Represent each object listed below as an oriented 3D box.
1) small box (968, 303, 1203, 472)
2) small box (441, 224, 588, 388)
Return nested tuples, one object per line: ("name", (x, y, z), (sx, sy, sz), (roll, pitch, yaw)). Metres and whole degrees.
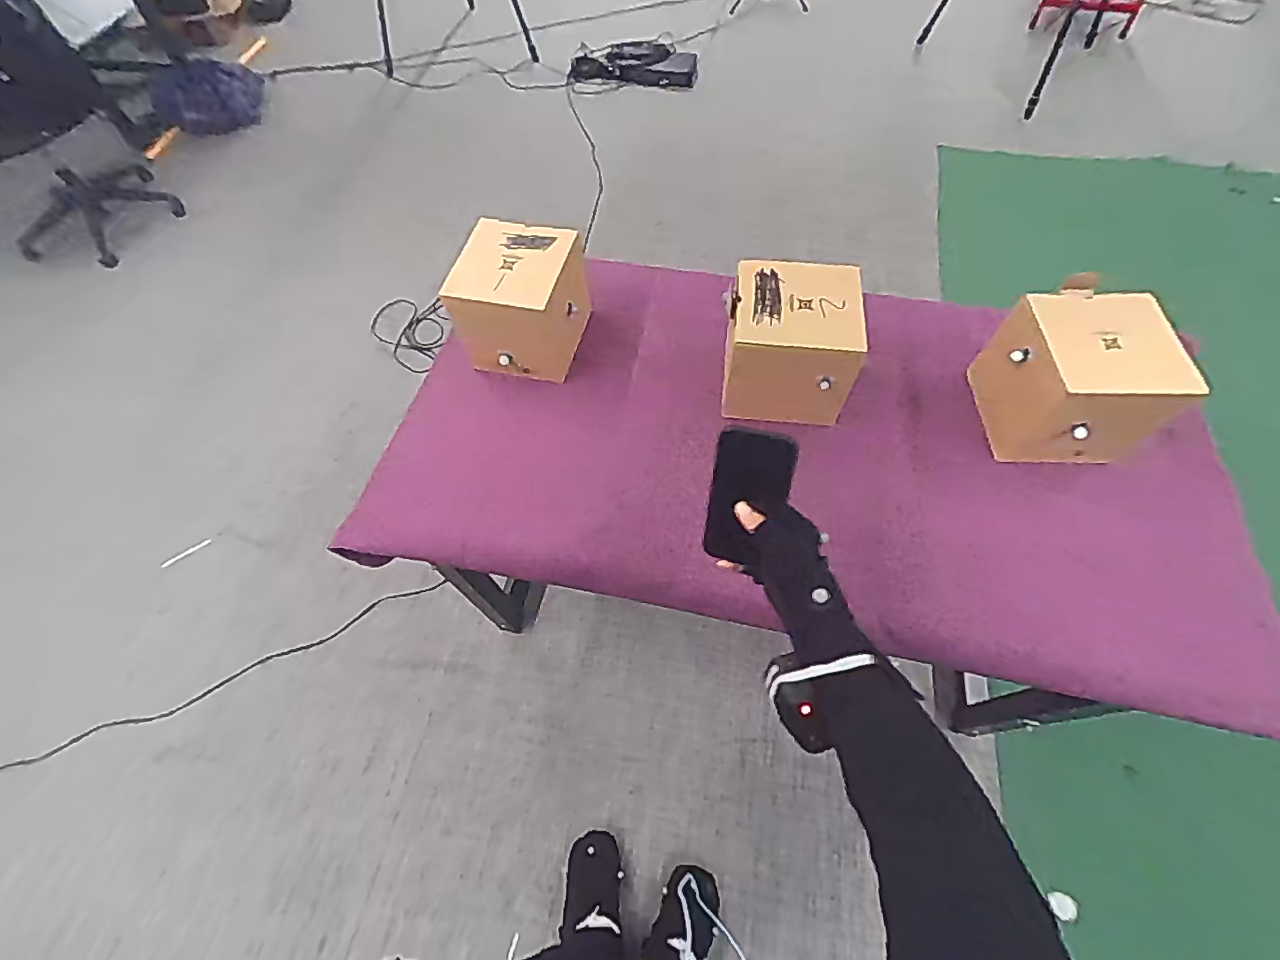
("small box", (0.602, -0.124, 0.762), (0.168, 0.176, 0.179), (1, 59, 3))
("small box", (-0.189, -0.278, 0.879), (0.168, 0.176, 0.179), (11, 63, 9))
